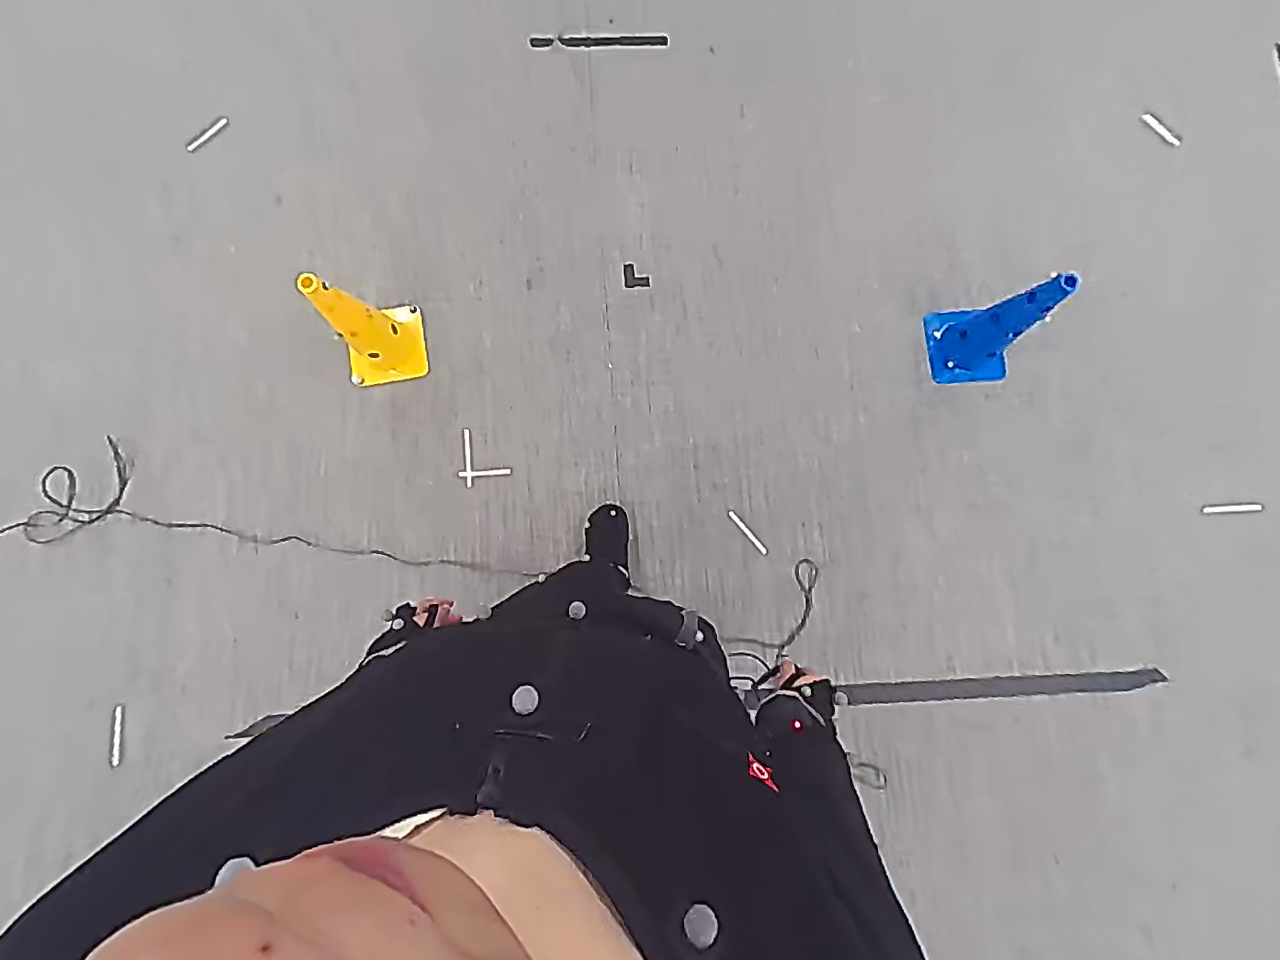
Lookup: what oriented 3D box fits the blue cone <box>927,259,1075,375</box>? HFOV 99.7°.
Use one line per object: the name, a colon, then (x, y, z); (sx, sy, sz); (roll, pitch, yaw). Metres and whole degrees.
blue cone: (0.869, -0.396, 1.279); (0.193, 0.380, 0.192); (-3, 82, -1)
